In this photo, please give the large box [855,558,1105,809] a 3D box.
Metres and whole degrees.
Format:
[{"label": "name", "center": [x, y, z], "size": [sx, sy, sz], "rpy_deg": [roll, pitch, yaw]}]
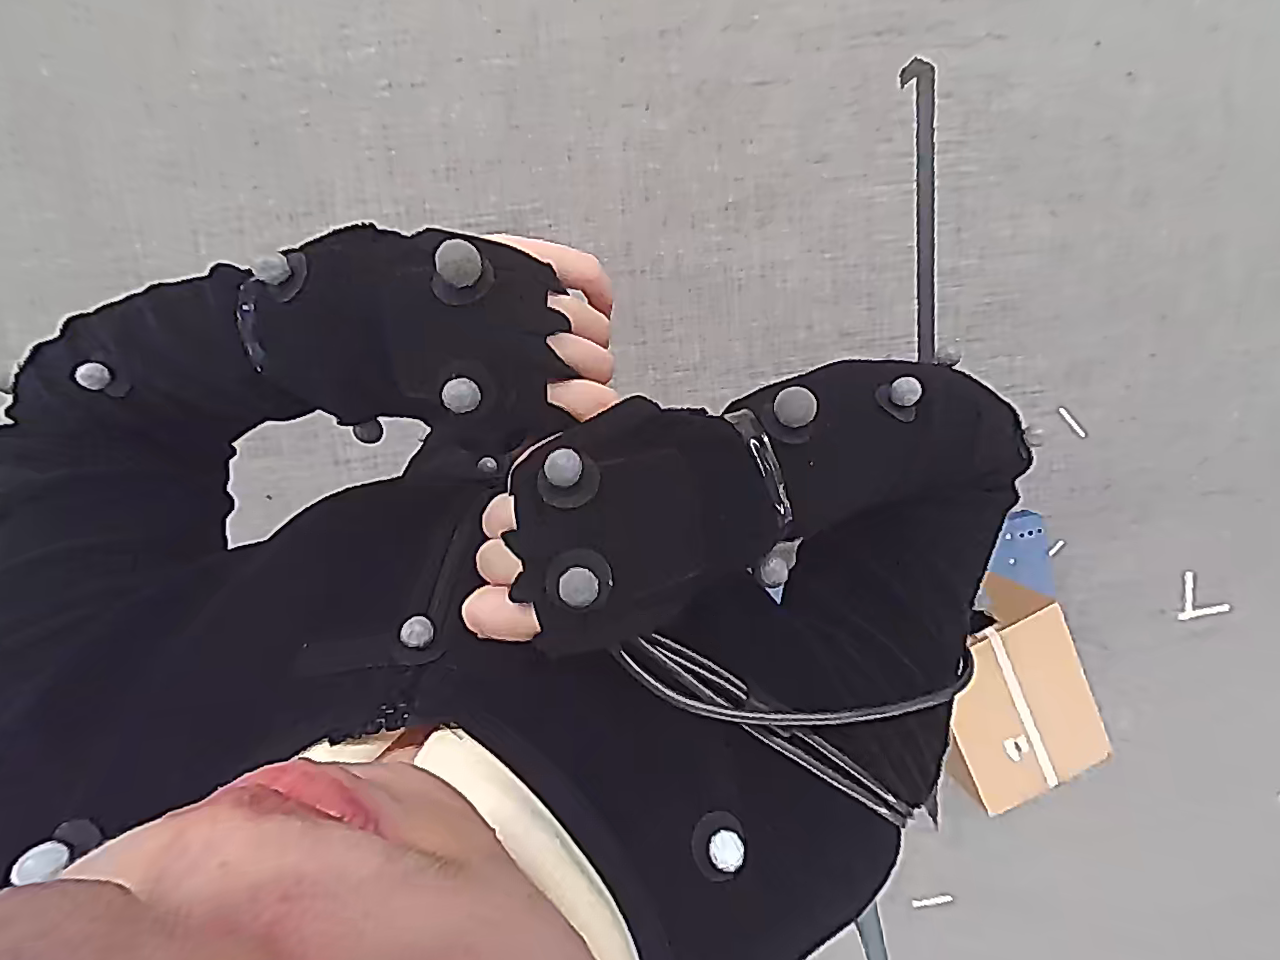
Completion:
[{"label": "large box", "center": [0.793, 0.462, 1.303], "size": [0.320, 0.320, 0.408], "rpy_deg": [-26, 100, 0]}]
